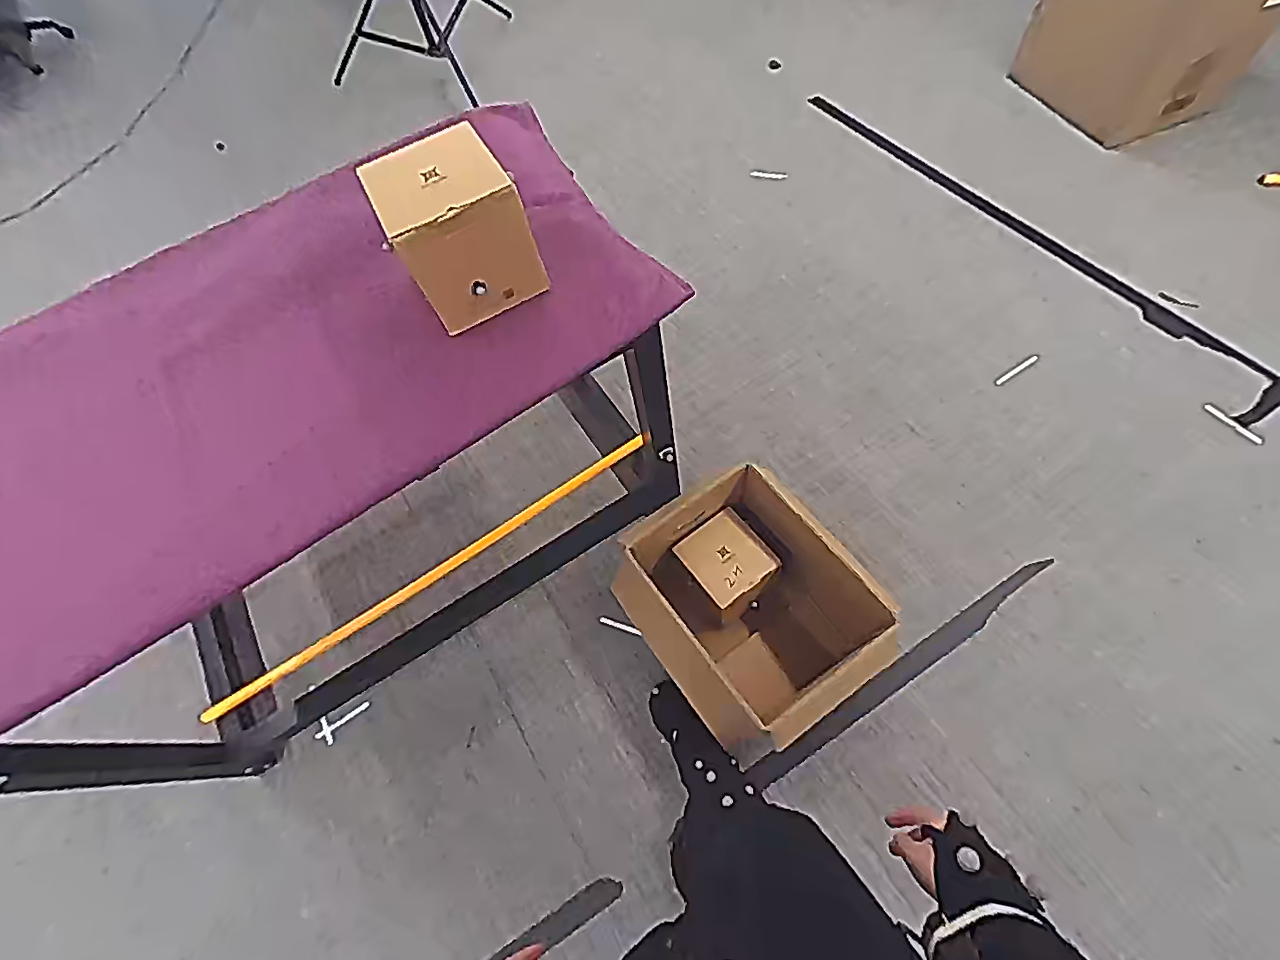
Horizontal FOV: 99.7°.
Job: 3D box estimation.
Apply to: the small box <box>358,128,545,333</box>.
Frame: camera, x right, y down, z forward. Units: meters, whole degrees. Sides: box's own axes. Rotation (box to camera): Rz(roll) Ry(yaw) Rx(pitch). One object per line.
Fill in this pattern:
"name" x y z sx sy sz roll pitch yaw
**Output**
"small box" -0.257 -0.344 0.761 0.168 0.176 0.179 -29 63 -7
